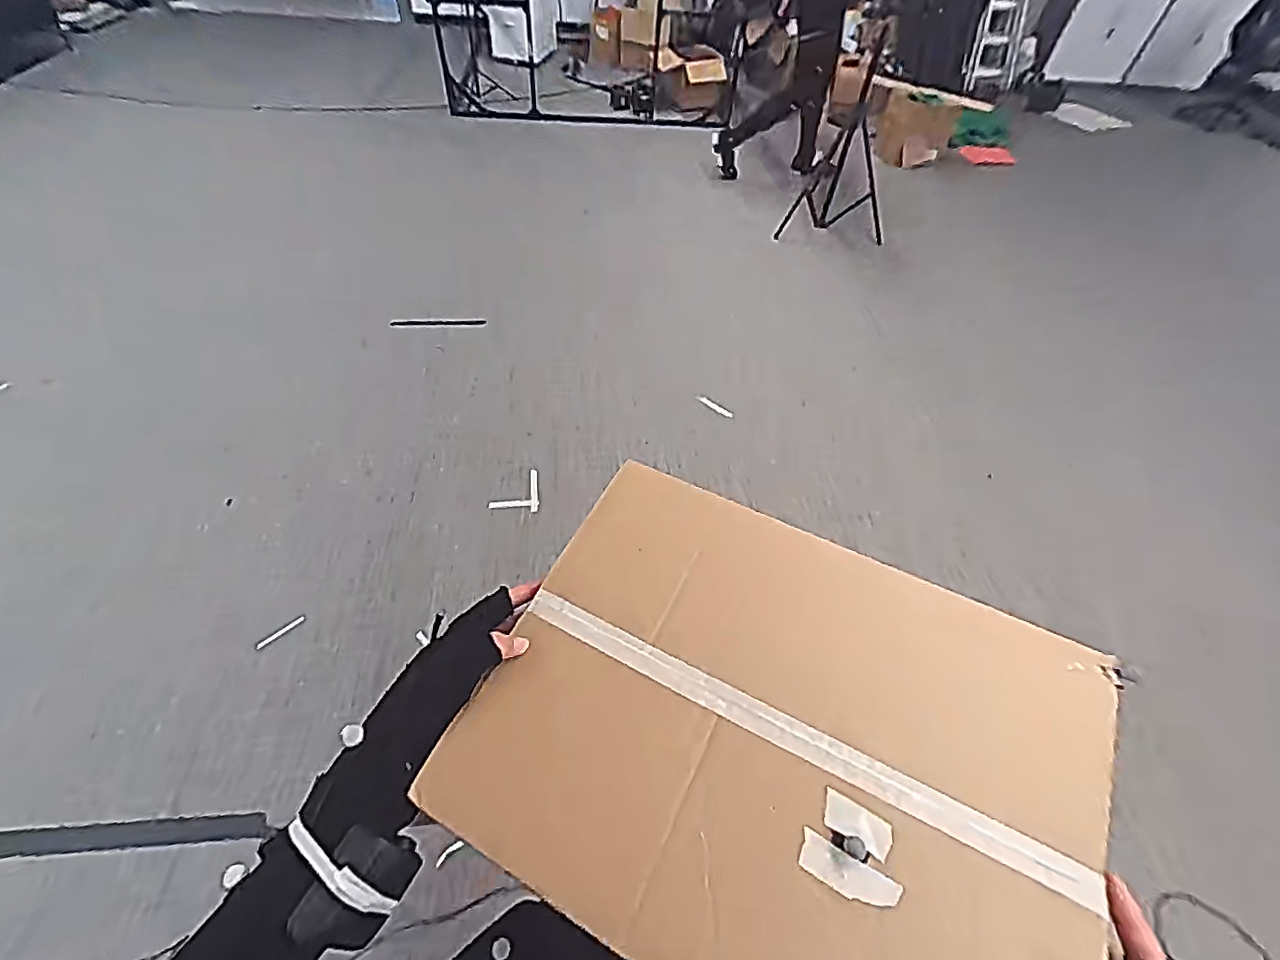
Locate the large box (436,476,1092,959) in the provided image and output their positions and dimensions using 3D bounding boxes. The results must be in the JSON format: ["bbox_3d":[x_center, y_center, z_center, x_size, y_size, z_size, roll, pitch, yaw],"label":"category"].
[{"bbox_3d":[0.103,0.260,0.518,0.408,0.320,0.320,23,61,17],"label":"large box"}]
